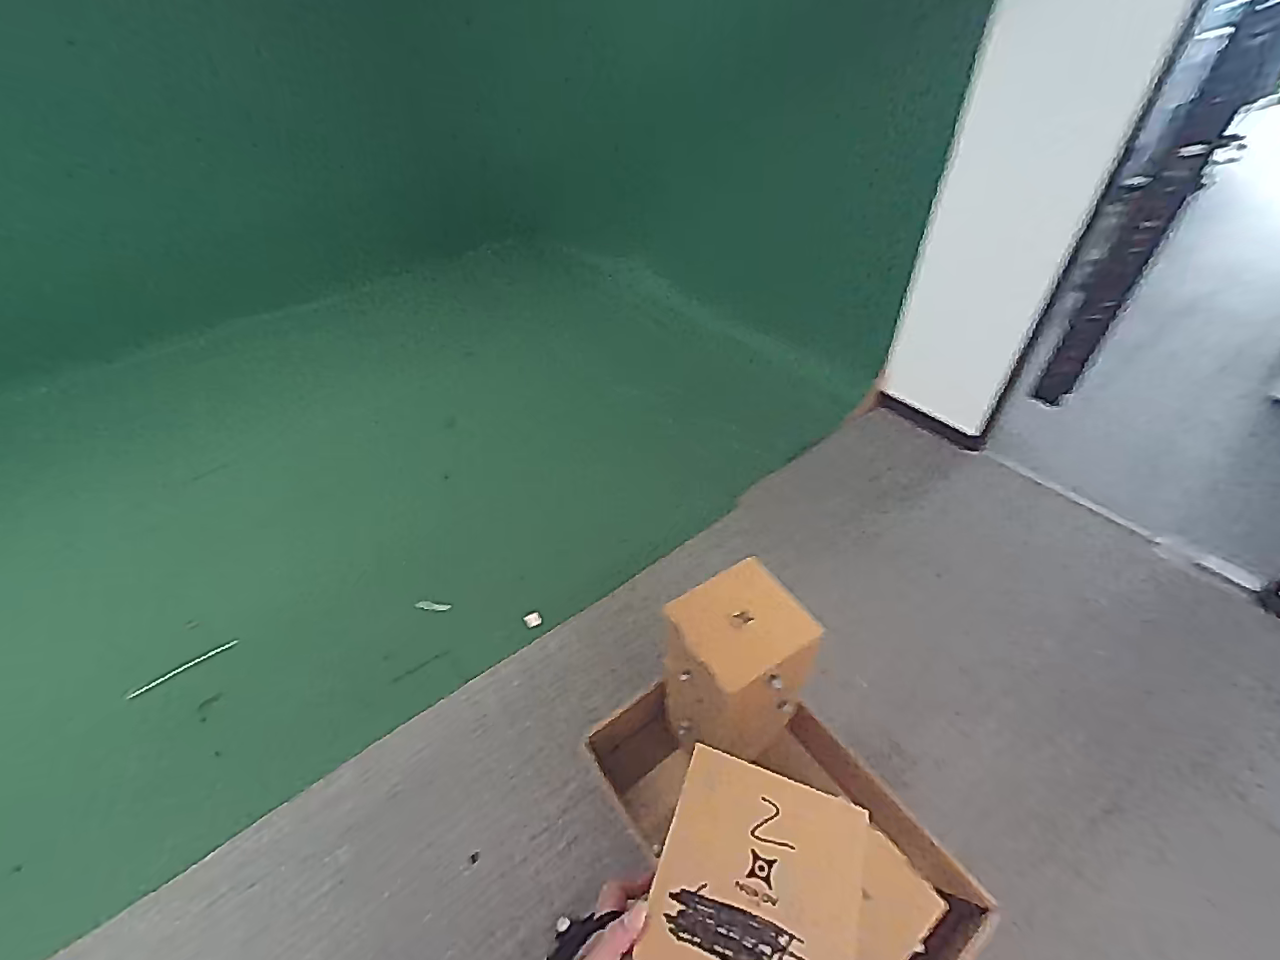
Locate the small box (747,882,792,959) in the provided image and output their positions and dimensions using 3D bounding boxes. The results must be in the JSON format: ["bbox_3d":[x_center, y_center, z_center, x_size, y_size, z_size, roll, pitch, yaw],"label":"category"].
[{"bbox_3d":[0.288,0.698,0.871,0.179,0.176,0.168,-29,50,-23],"label":"small box"}]

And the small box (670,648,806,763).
[{"bbox_3d":[0.168,0.369,0.976,0.179,0.176,0.168,-26,48,-19],"label":"small box"}]

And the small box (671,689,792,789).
[{"bbox_3d":[0.176,0.483,1.094,0.179,0.176,0.168,-27,50,-21],"label":"small box"}]

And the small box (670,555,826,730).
[{"bbox_3d":[0.161,0.258,0.859,0.179,0.176,0.168,-26,49,-18],"label":"small box"}]

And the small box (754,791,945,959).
[{"bbox_3d":[0.277,0.585,0.755,0.179,0.176,0.168,-30,50,-22],"label":"small box"}]
